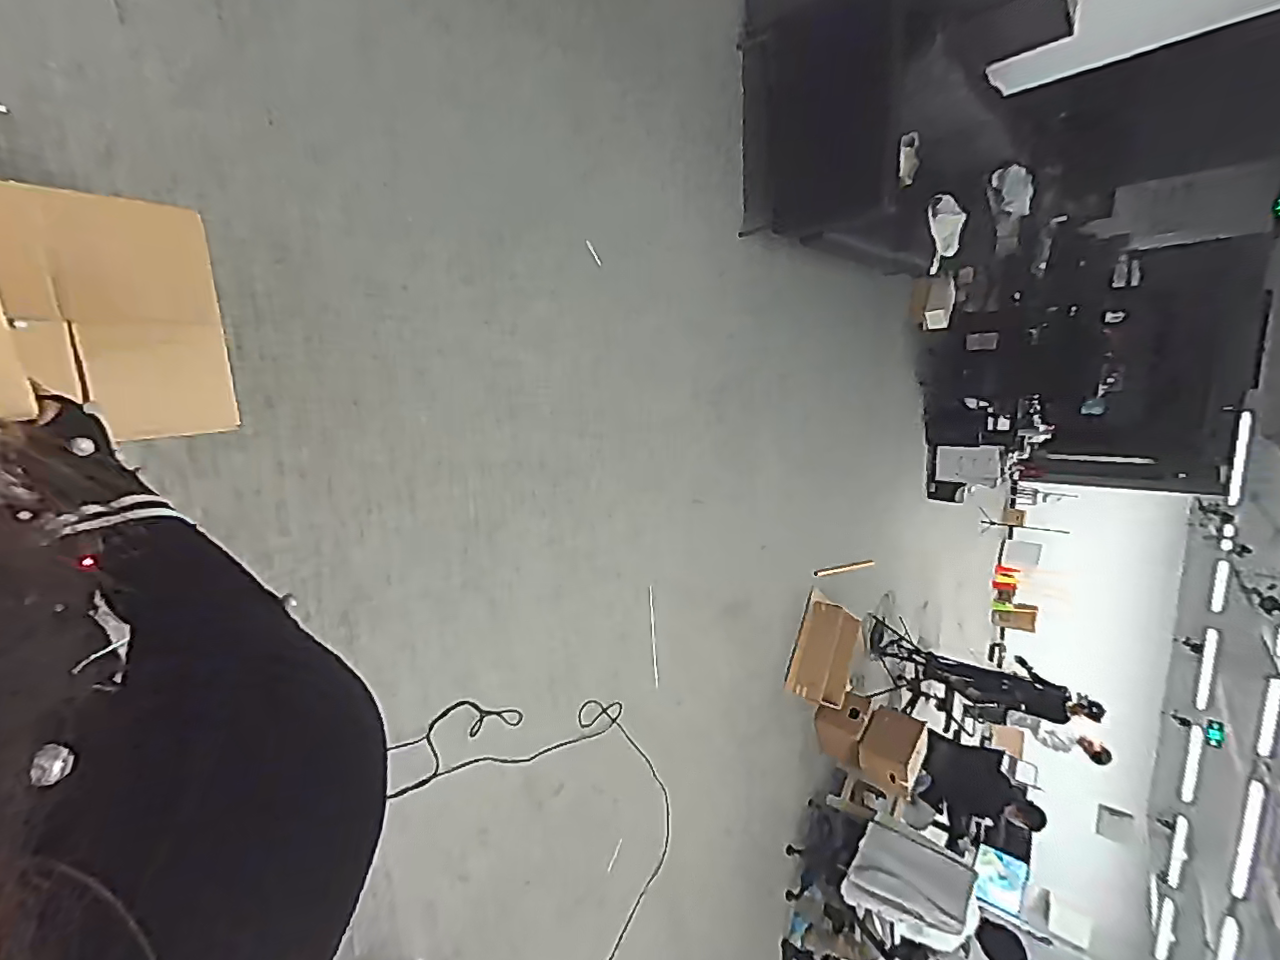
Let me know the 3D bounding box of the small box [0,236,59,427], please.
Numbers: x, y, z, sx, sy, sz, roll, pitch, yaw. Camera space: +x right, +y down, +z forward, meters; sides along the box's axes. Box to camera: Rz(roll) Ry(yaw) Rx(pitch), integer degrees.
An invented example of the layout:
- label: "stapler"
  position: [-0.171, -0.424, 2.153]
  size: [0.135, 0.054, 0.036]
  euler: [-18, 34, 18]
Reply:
- label: "small box"
  position: [-0.624, -0.127, 0.444]
  size: [0.168, 0.176, 0.179]
  euler: [-22, 112, -47]
